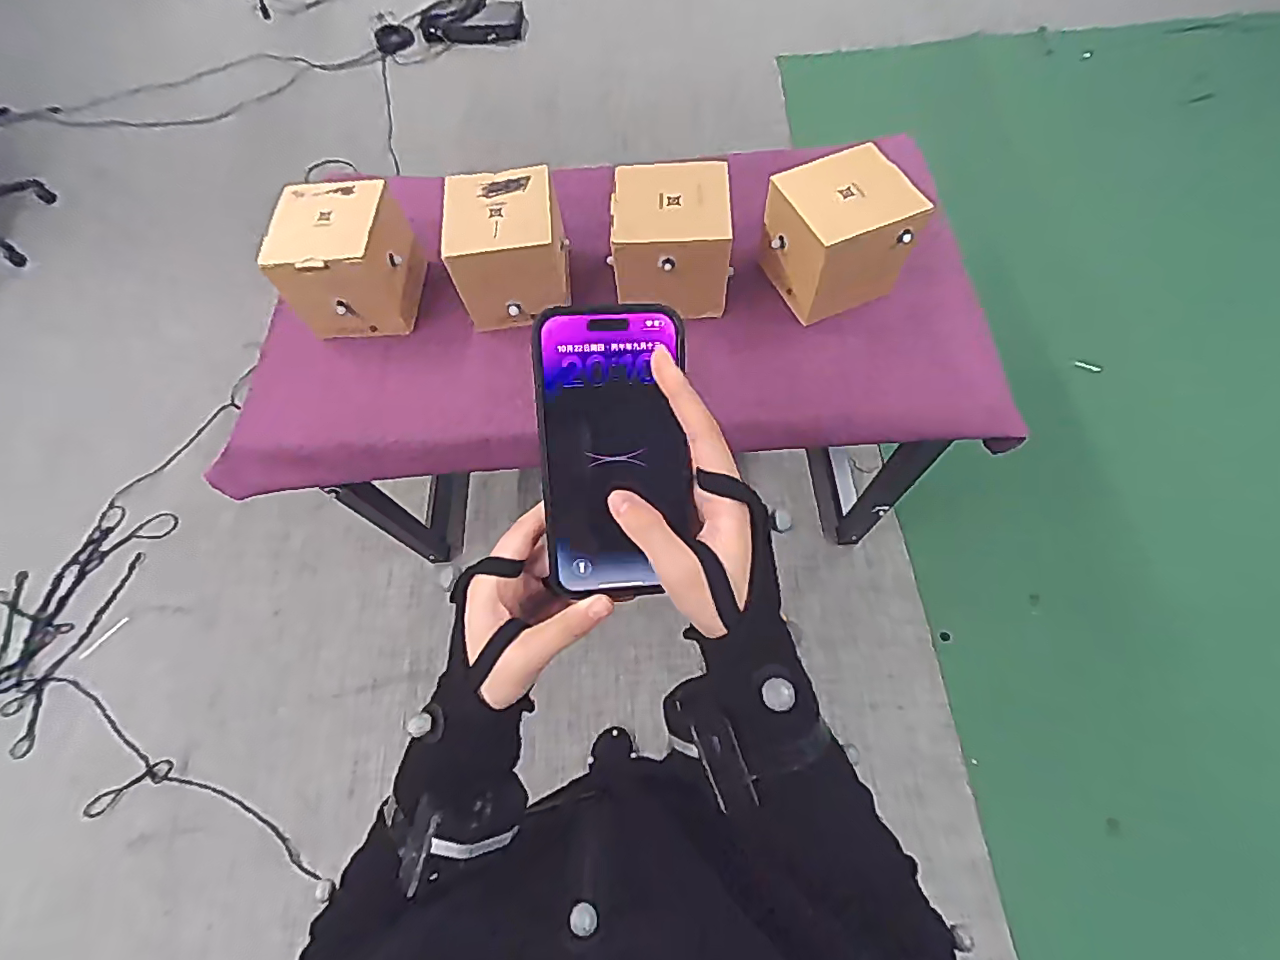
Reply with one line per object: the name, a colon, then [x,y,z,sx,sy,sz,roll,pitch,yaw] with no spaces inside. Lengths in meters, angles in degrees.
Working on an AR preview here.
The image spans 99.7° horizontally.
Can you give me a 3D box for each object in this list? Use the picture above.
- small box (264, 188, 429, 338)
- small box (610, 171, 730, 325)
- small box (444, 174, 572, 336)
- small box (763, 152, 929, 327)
small box: [-0.476,-0.353,0.908,0.168,0.176,0.179,-2,65,3]
small box: [0.051,-0.370,0.879,0.179,0.176,0.168,1,65,4]
small box: [-0.208,-0.367,0.895,0.168,0.176,0.179,-7,65,1]
small box: [0.309,-0.374,0.862,0.179,0.176,0.168,-22,64,-6]
